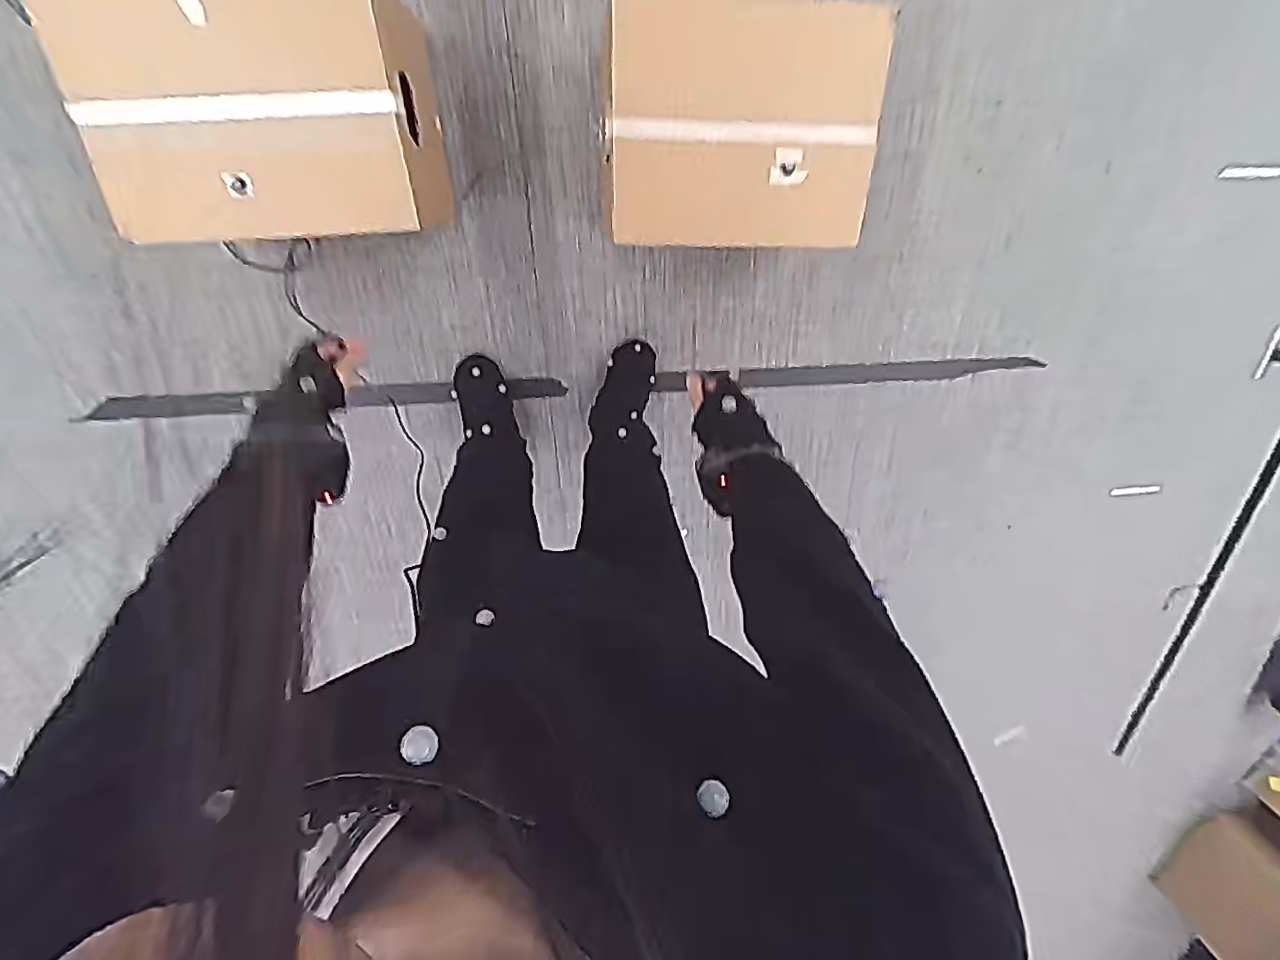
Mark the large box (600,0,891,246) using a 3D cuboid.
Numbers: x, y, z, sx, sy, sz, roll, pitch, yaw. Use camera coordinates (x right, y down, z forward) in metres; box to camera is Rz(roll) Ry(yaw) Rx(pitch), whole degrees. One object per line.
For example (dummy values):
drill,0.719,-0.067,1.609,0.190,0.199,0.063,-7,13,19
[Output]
large box,0.143,-0.584,0.945,0.408,0.320,0.320,-2,116,-7
